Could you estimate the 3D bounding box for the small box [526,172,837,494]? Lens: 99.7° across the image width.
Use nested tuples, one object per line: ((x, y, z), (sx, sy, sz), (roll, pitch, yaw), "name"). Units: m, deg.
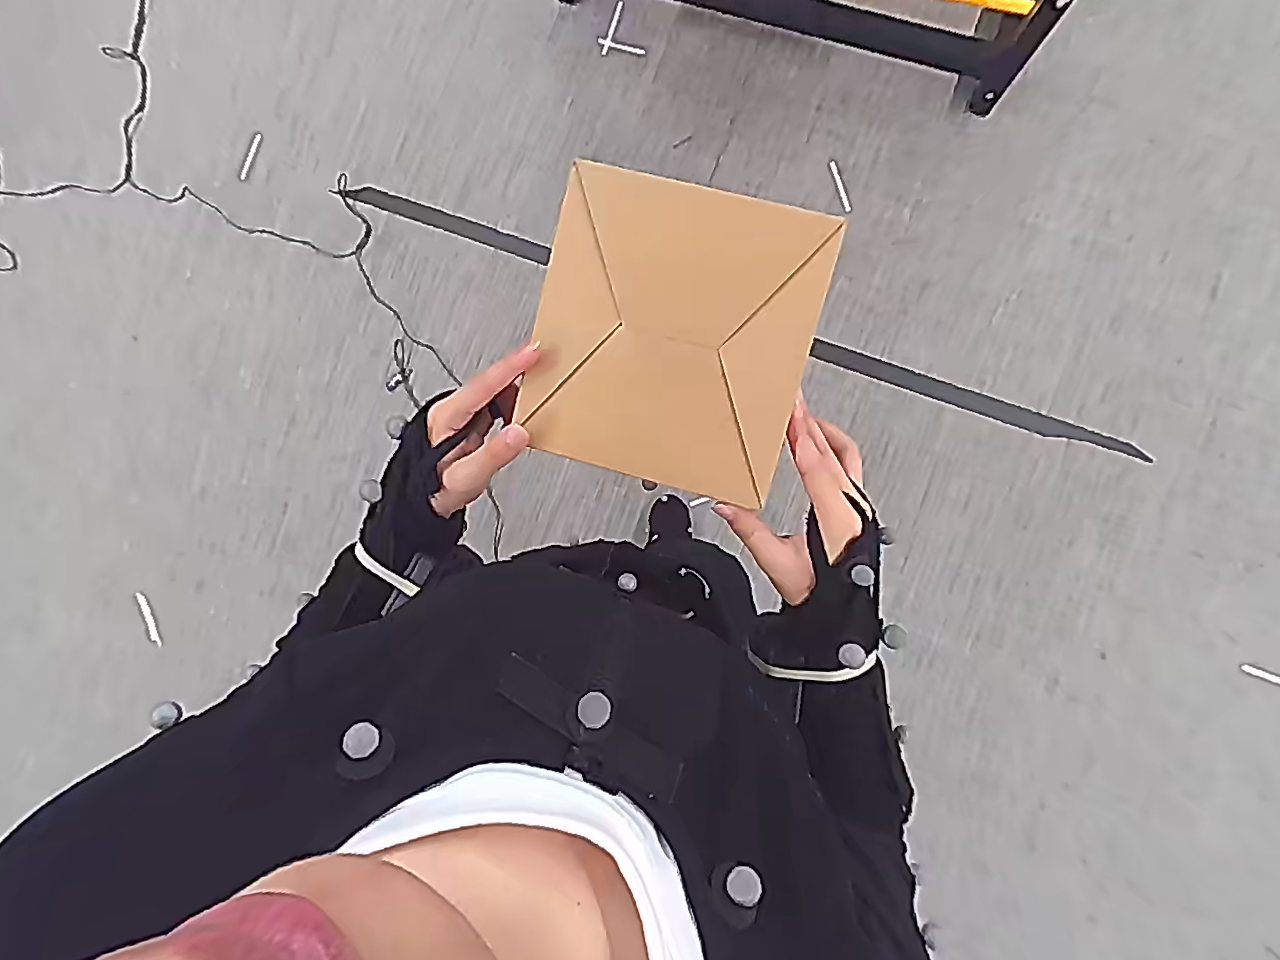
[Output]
((0.029, -0.092, 0.409), (0.168, 0.176, 0.179), (15, 96, 5), "small box")
